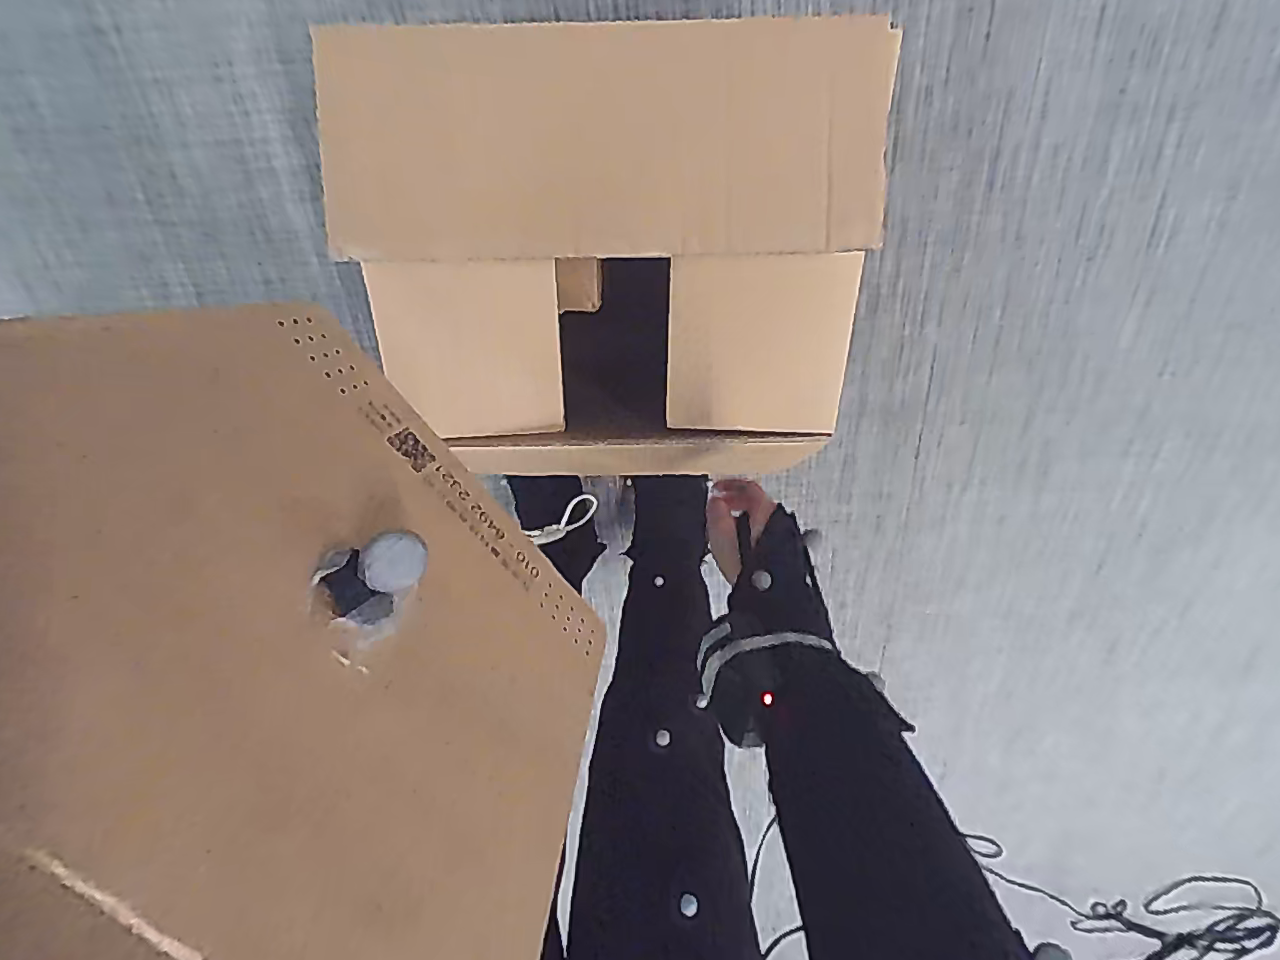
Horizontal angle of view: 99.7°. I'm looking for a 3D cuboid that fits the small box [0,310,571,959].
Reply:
[{"bbox_3d":[-0.135,0.071,0.150,0.179,0.176,0.168,-35,105,15],"label":"small box"}]
